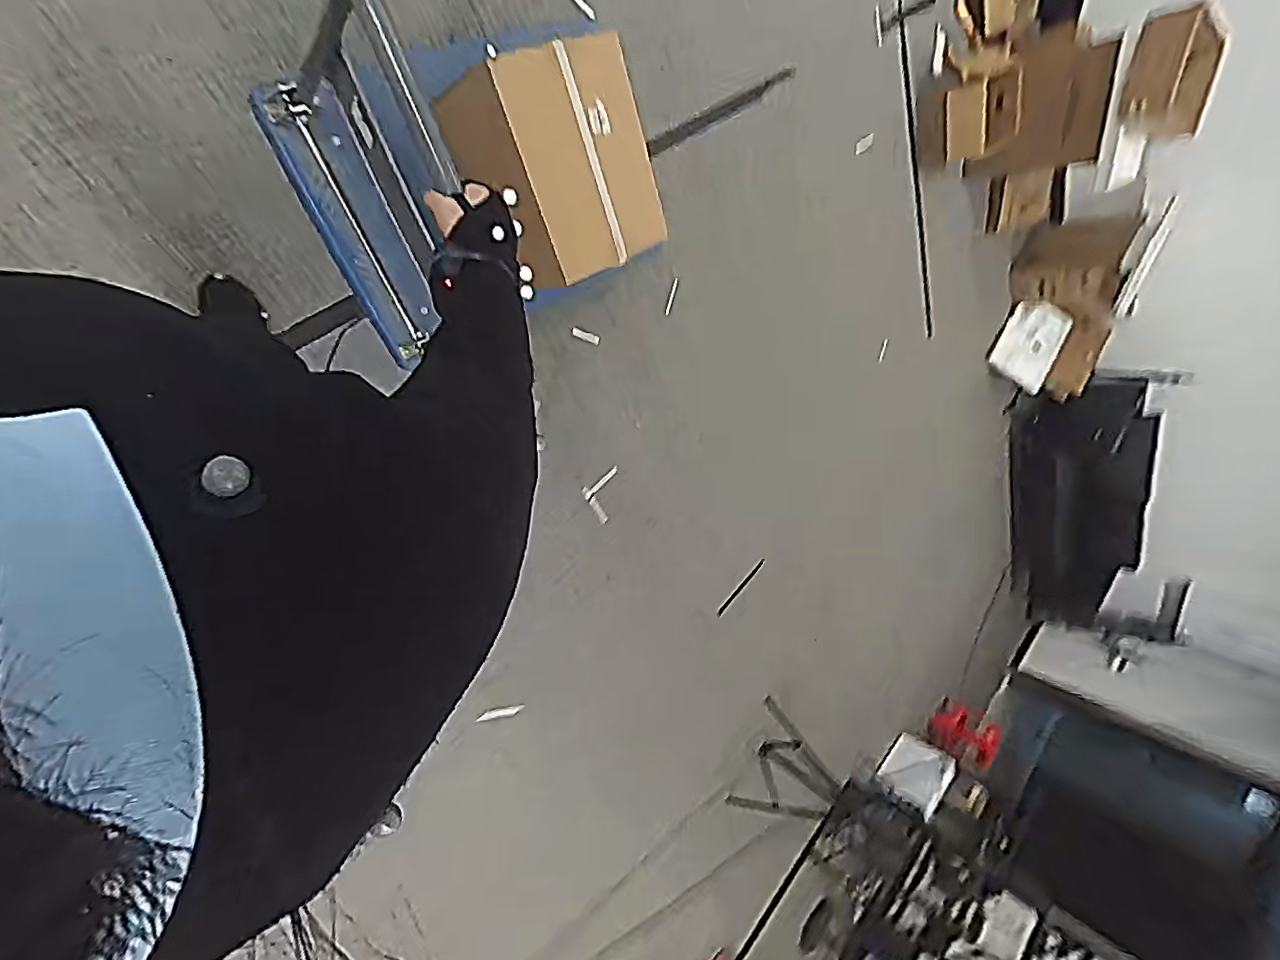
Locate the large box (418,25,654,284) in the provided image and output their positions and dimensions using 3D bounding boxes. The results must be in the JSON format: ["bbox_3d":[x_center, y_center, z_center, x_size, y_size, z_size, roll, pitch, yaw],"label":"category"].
[{"bbox_3d":[-0.229,-0.706,1.229,0.320,0.320,0.408,-37,123,-28],"label":"large box"}]
